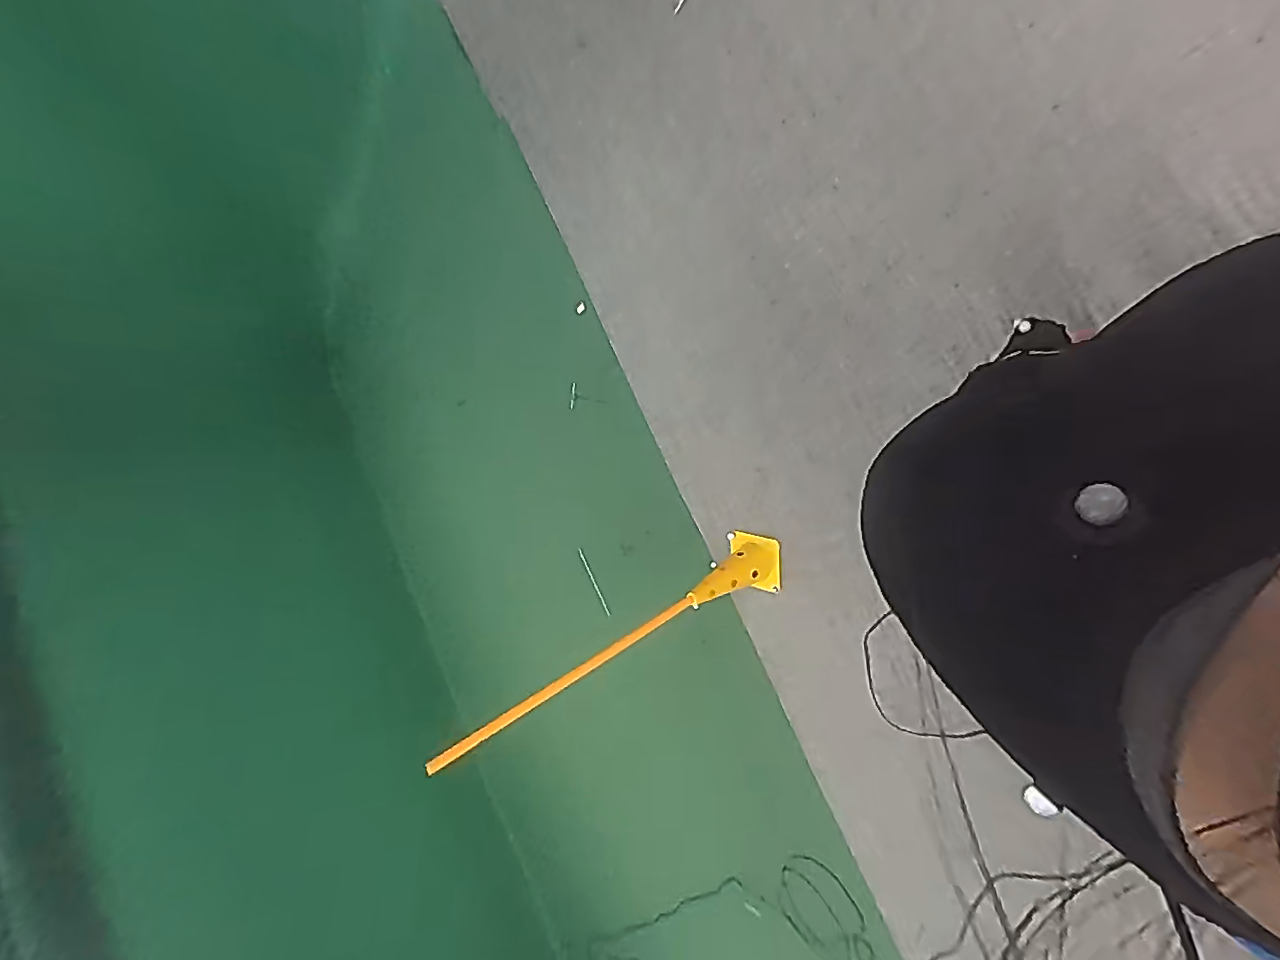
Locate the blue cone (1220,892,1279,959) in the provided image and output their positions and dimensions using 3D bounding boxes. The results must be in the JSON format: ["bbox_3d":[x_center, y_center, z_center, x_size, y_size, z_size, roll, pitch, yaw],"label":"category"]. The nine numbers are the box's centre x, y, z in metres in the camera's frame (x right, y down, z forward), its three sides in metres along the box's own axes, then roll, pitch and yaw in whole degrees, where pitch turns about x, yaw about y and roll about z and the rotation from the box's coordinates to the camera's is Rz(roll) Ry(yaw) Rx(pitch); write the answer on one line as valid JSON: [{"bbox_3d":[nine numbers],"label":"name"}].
[{"bbox_3d":[1.270,1.011,1.011,0.193,0.380,0.192,26,120,34],"label":"blue cone"}]
